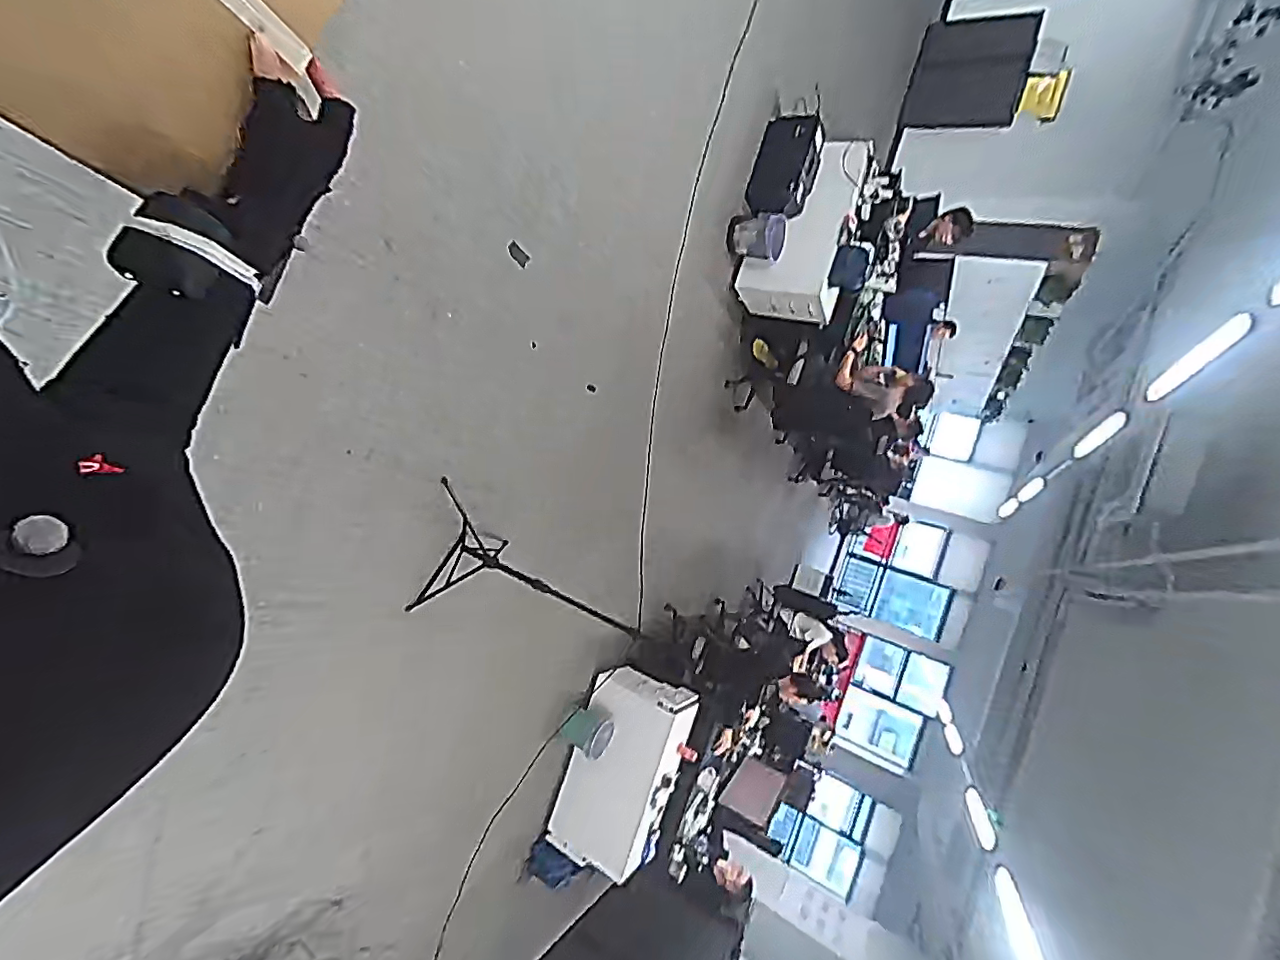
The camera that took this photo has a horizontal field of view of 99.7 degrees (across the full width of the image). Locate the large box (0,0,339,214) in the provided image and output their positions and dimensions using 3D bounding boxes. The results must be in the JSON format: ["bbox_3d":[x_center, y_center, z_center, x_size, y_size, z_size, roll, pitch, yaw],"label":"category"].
[{"bbox_3d":[-0.470,-0.459,0.335,0.320,0.320,0.408,-57,153,1],"label":"large box"}]
